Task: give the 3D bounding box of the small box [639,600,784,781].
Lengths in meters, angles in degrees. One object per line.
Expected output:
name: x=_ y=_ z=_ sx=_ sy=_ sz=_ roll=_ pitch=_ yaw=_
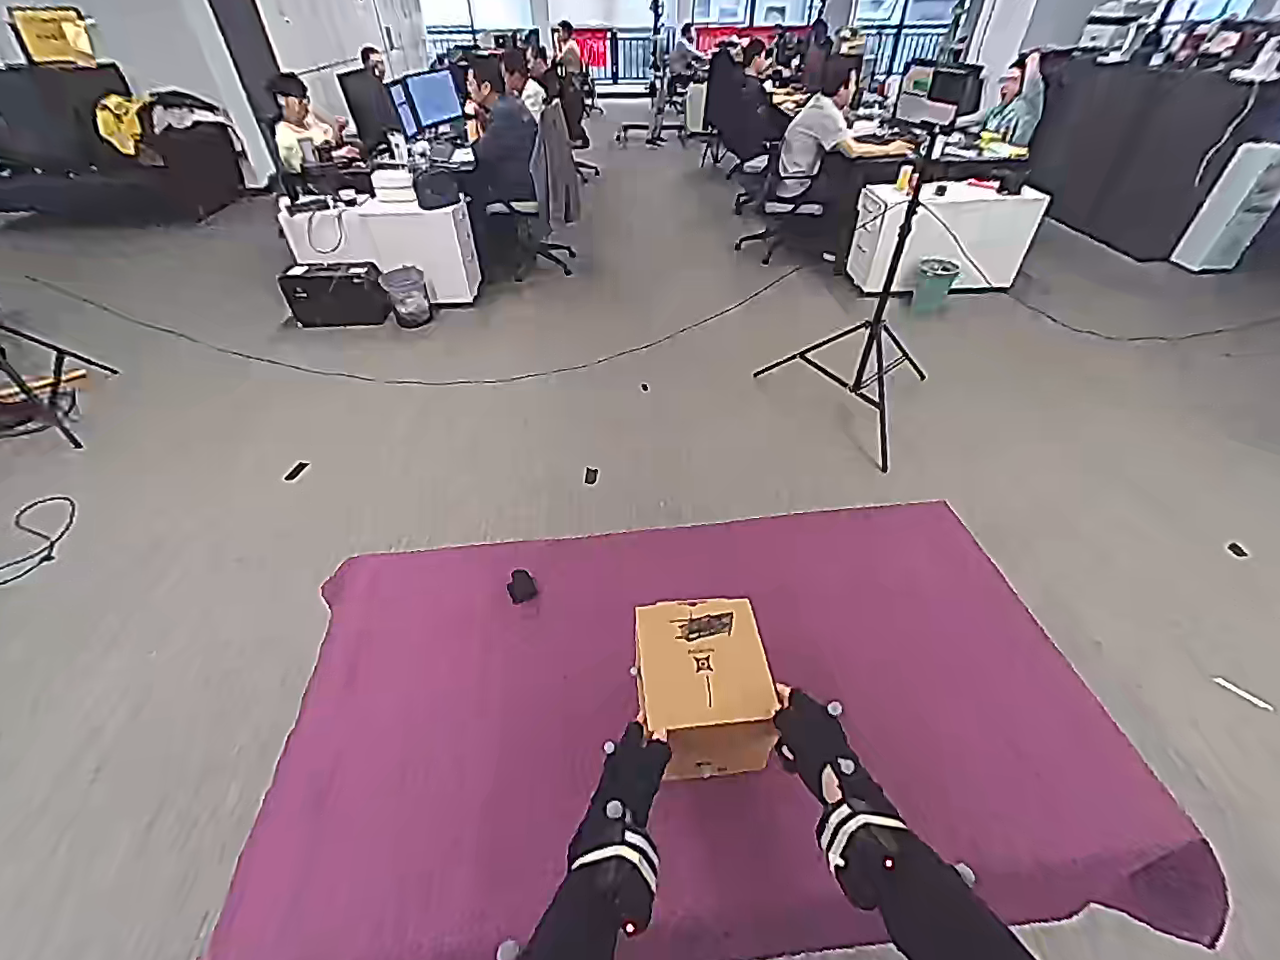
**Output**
small box: x=0.085 y=0.293 z=0.760 sx=0.168 sy=0.176 sz=0.179 roll=-4 pitch=42 yaw=-4
